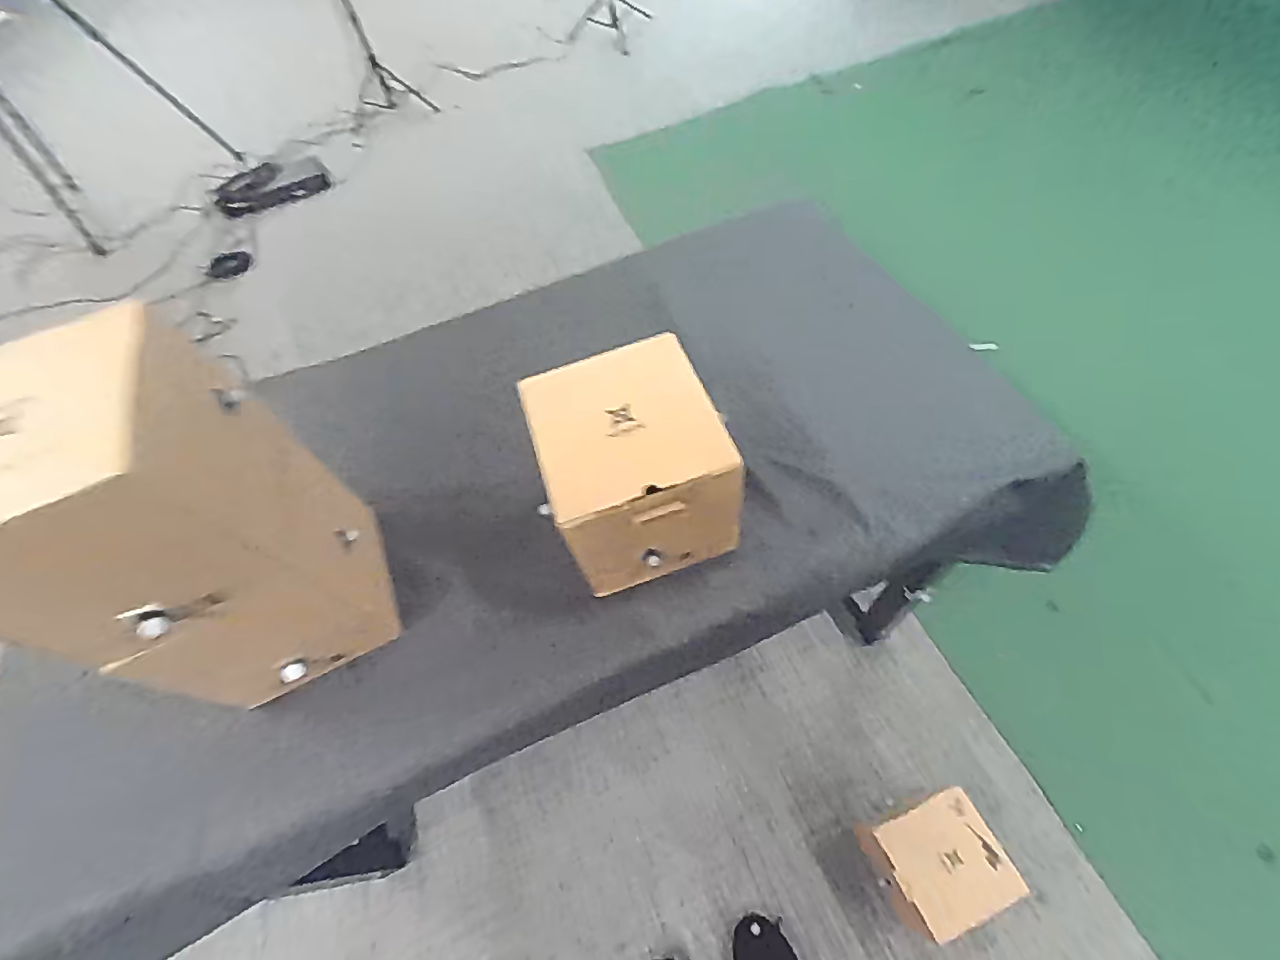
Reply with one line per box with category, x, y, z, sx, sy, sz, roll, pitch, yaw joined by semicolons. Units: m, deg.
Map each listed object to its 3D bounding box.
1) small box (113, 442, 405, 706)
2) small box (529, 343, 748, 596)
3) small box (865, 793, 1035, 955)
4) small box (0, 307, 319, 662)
small box;-0.366;0.099;0.547;0.168;0.176;0.179;-25;58;-9
small box;-0.002;-0.006;0.567;0.168;0.176;0.179;-19;57;-5
small box;0.512;0.670;0.930;0.179;0.176;0.168;-23;56;-7
small box;-0.380;0.009;0.412;0.168;0.176;0.179;-26;59;-7
